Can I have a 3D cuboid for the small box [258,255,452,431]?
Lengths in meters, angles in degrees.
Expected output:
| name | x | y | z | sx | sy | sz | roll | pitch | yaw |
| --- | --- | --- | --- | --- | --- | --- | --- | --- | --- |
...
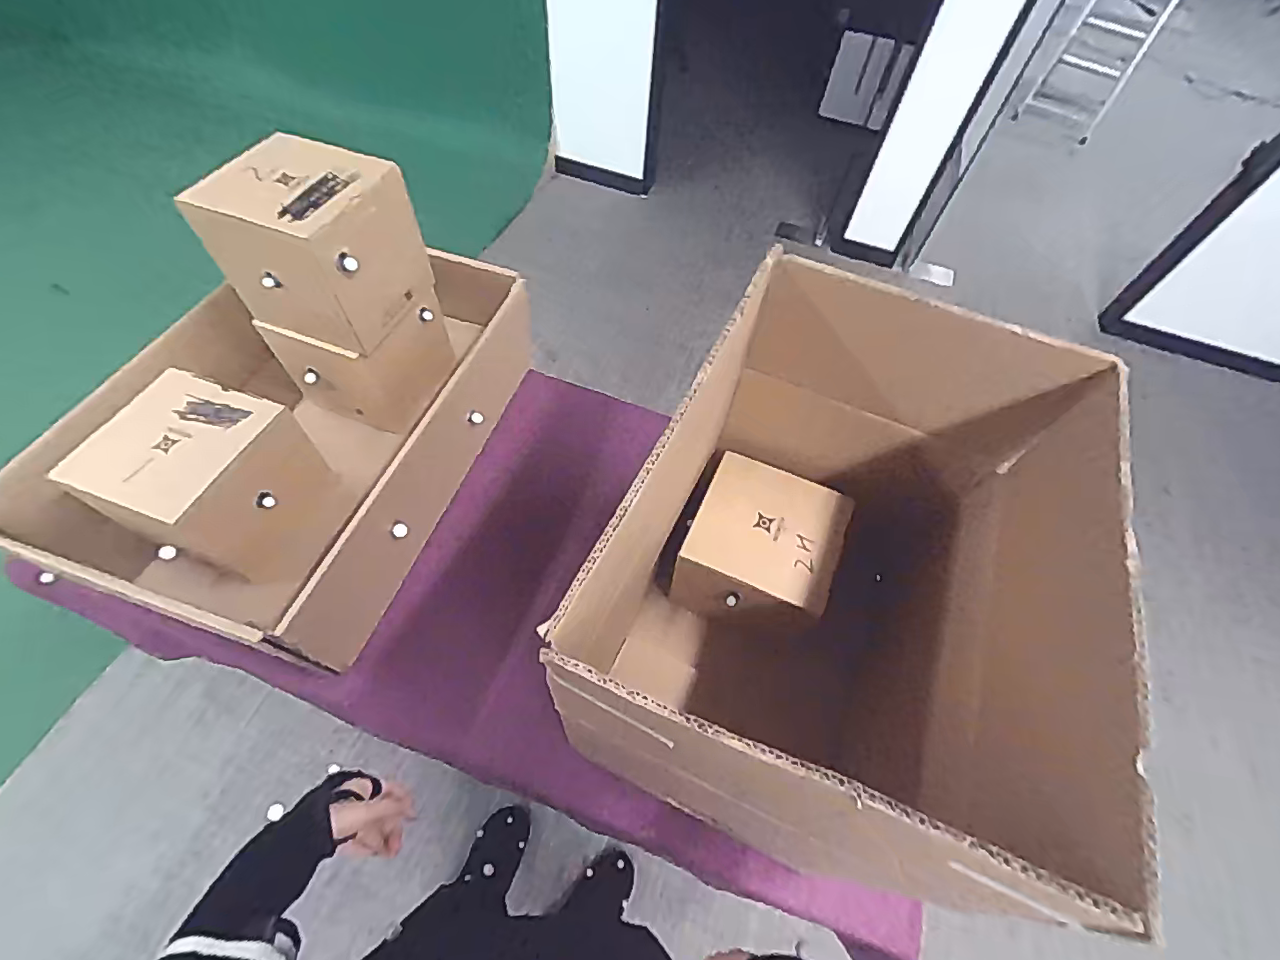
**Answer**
| name | x | y | z | sx | sy | sz | roll | pitch | yaw |
| --- | --- | --- | --- | --- | --- | --- | --- | --- | --- |
| small box | -0.413 | -0.203 | 0.823 | 0.168 | 0.176 | 0.179 | 20 | 58 | 9 |
